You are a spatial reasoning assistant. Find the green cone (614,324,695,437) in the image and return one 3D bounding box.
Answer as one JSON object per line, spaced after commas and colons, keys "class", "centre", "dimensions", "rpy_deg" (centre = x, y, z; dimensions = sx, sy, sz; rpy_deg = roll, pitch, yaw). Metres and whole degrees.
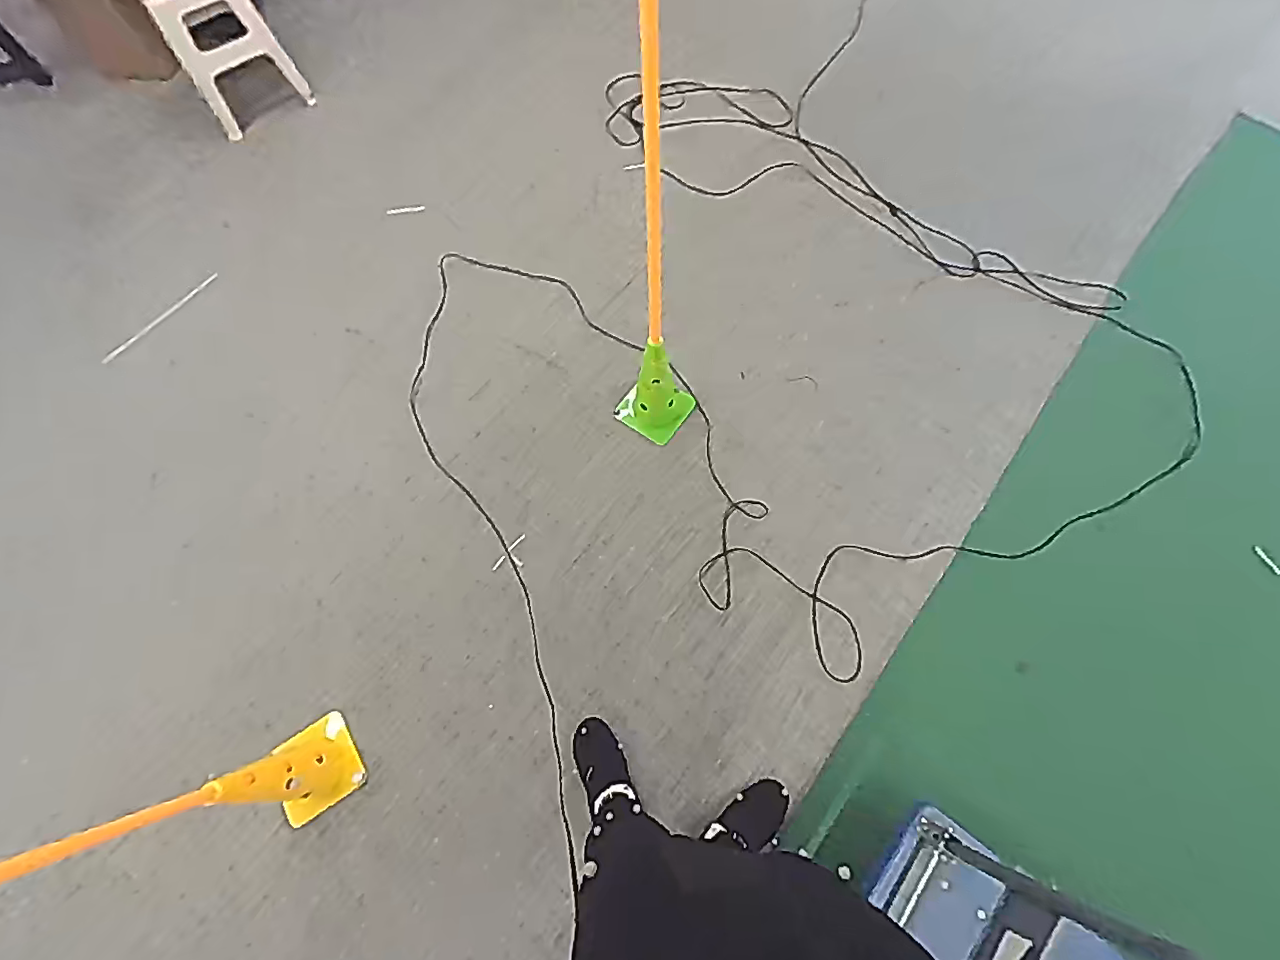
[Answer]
{"class": "green cone", "centre": [0.044, -0.310, 1.538], "dimensions": [0.200, 0.368, 0.202], "rpy_deg": [33, 72, 13]}
